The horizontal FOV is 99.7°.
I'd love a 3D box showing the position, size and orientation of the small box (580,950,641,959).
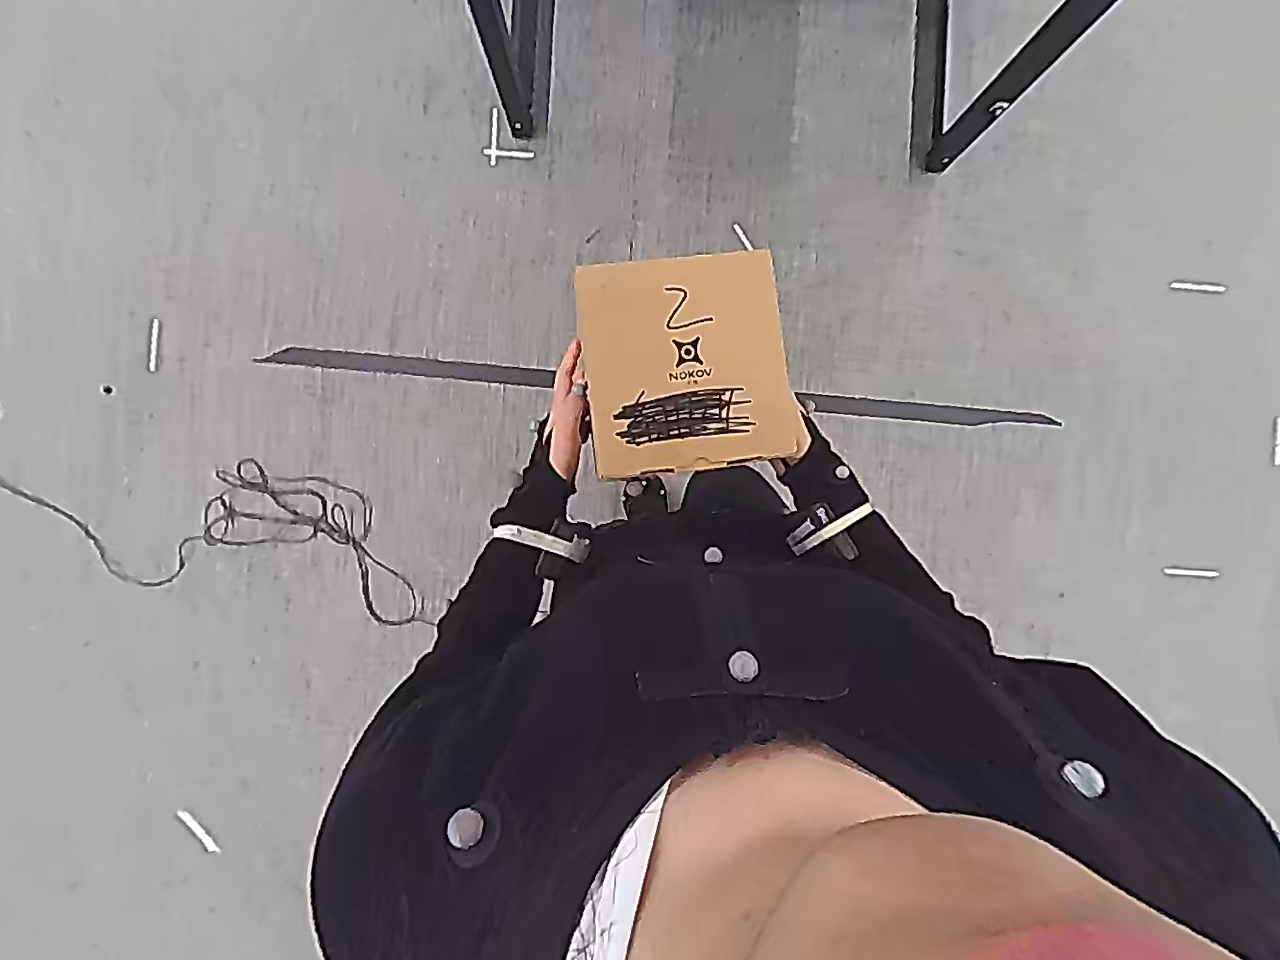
[{"bbox_3d":[-0.088,1.390,1.425,0.179,0.176,0.168,4,90,-2],"label":"small box"}]
